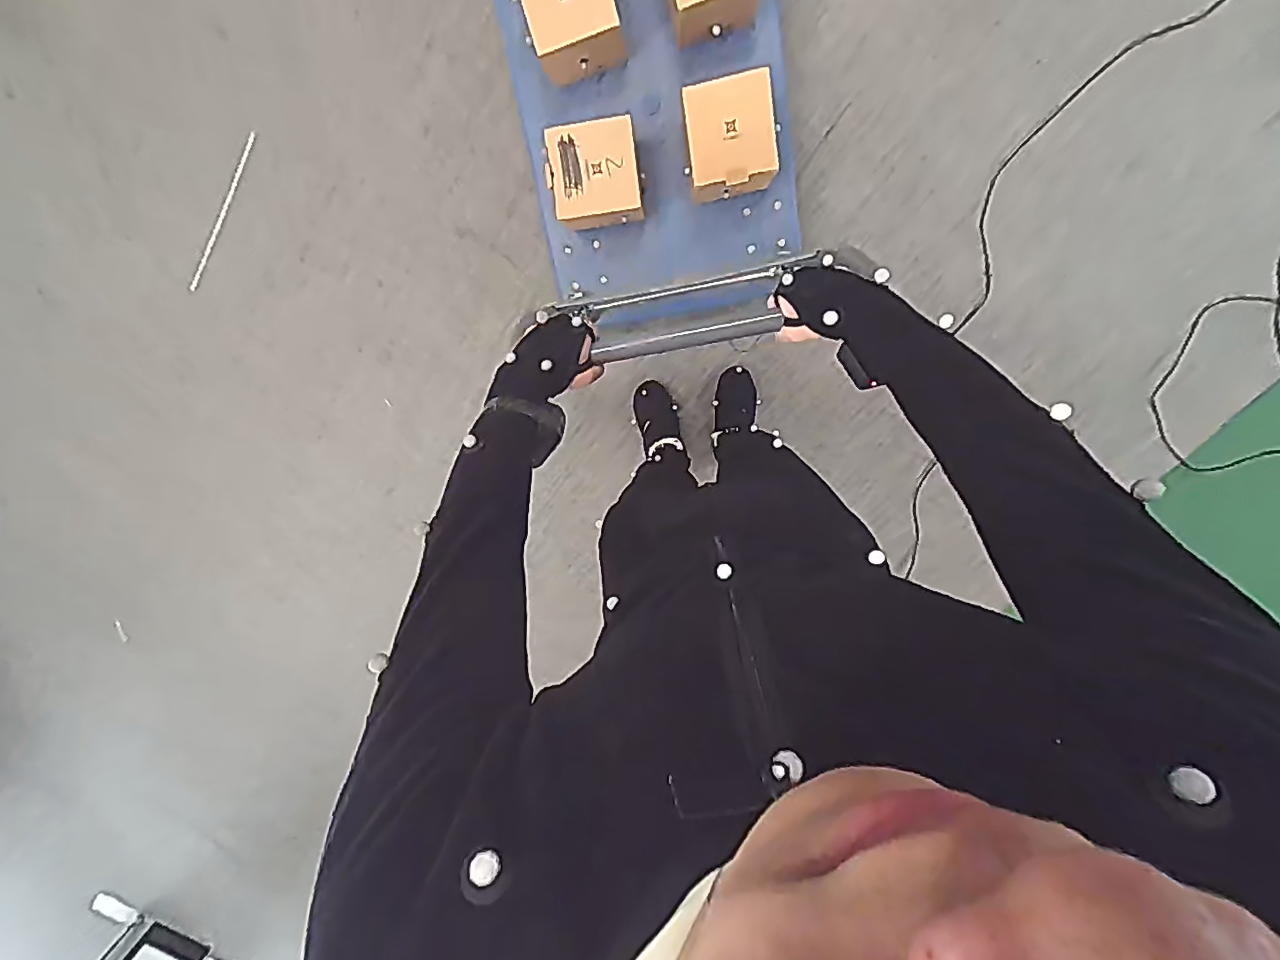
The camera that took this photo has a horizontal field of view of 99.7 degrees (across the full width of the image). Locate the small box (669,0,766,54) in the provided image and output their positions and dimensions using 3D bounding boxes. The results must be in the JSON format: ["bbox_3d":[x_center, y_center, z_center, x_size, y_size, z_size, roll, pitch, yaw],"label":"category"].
[{"bbox_3d":[0.136,-0.963,1.023,0.168,0.176,0.179,-14,107,9],"label":"small box"}]

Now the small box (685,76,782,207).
[{"bbox_3d":[0.187,-0.684,1.112,0.168,0.176,0.179,-9,108,7],"label":"small box"}]

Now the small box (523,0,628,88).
[{"bbox_3d":[-0.126,-0.907,1.059,0.168,0.176,0.179,-14,106,8],"label":"small box"}]
